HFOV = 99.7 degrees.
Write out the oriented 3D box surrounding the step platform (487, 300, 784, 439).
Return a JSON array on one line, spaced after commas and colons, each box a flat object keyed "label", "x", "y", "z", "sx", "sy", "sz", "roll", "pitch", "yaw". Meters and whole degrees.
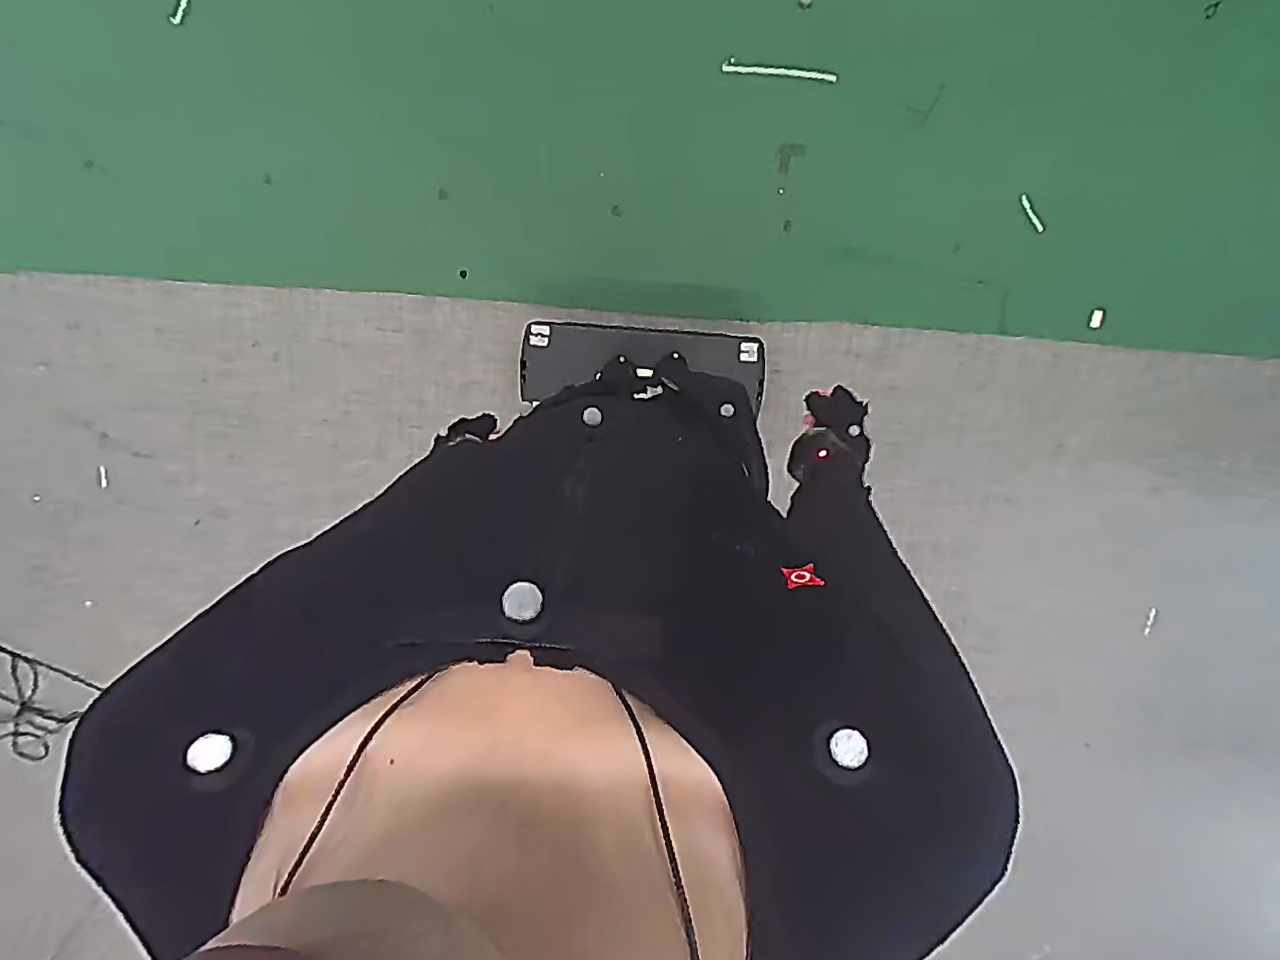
[{"label": "step platform", "x": -0.010, "y": -0.271, "z": 1.333, "sx": 0.684, "sy": 0.204, "sz": 0.286, "roll": 4, "pitch": 103, "yaw": 0}]
